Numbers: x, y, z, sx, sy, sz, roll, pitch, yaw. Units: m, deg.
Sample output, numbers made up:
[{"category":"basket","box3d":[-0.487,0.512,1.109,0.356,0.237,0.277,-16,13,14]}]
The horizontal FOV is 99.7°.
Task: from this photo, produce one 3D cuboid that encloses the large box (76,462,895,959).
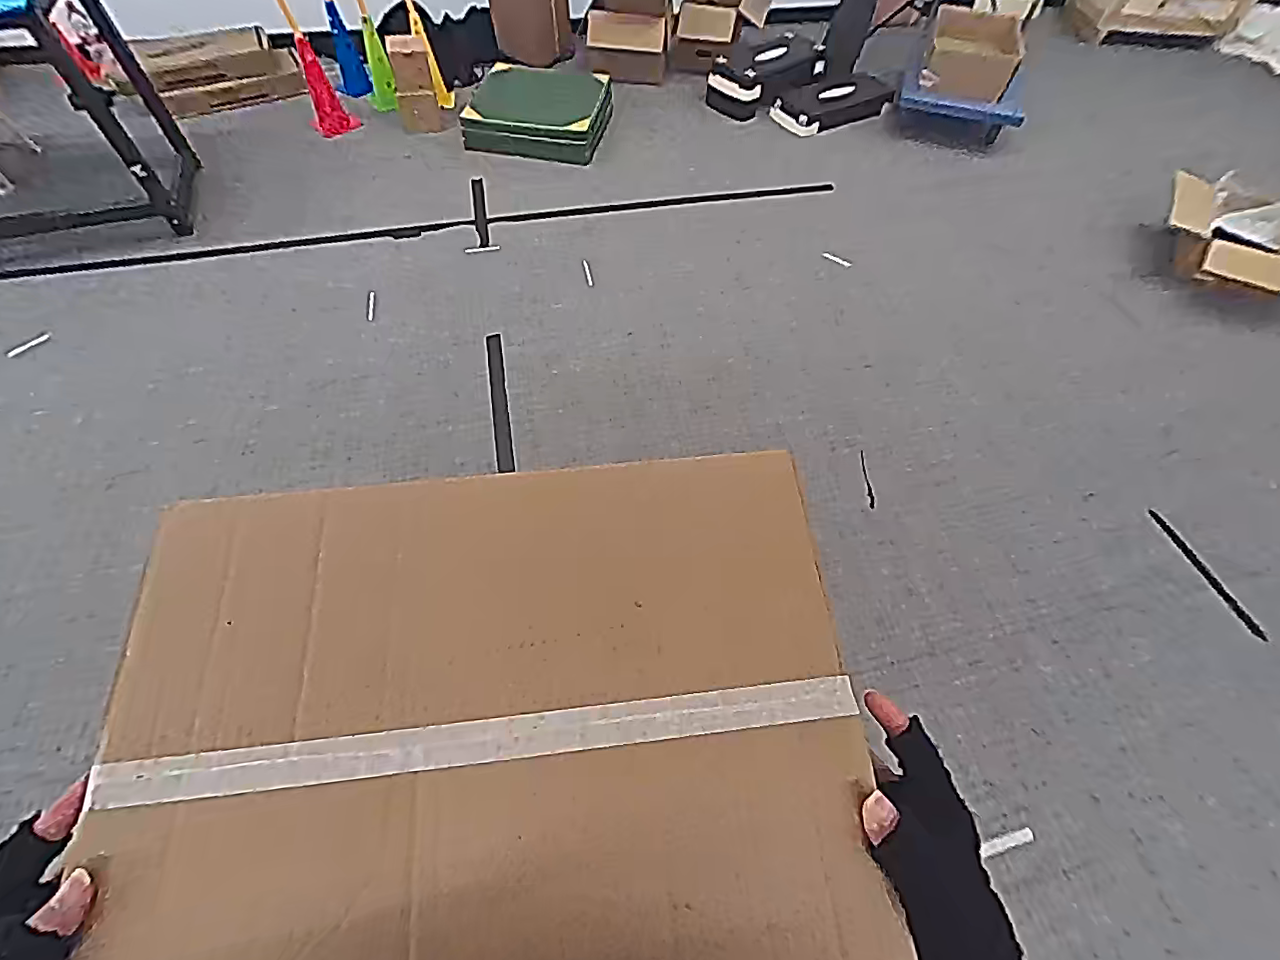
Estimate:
[{"category":"large box","box3d":[-0.085,0.204,0.442,0.408,0.320,0.320,-5,66,-4]}]
